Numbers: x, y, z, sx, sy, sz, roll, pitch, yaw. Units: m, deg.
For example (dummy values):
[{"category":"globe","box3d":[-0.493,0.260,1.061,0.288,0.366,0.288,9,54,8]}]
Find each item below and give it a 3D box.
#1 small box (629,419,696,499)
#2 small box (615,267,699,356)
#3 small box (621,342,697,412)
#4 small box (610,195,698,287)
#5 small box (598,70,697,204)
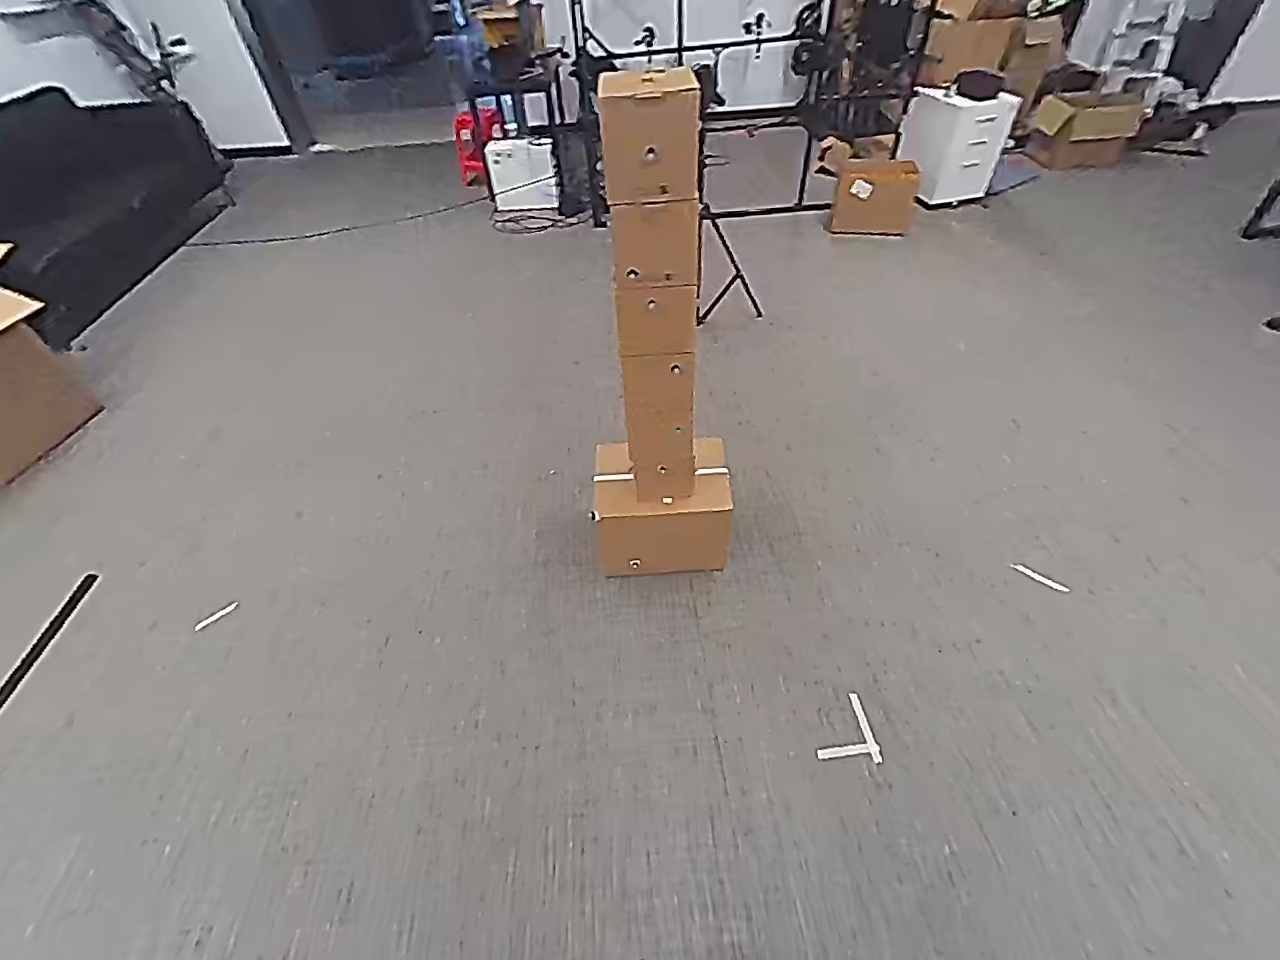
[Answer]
[{"category":"small box","box3d":[0.064,-0.057,1.580,0.179,0.176,0.168,-4,48,-2]},{"category":"small box","box3d":[0.037,-0.395,1.226,0.179,0.176,0.168,-2,48,2]},{"category":"small box","box3d":[0.046,-0.284,1.343,0.179,0.176,0.168,-2,47,2]},{"category":"small box","box3d":[0.032,-0.508,1.107,0.168,0.176,0.179,-2,47,2]},{"category":"small box","box3d":[0.017,-0.618,0.986,0.168,0.176,0.179,-3,48,1]}]
